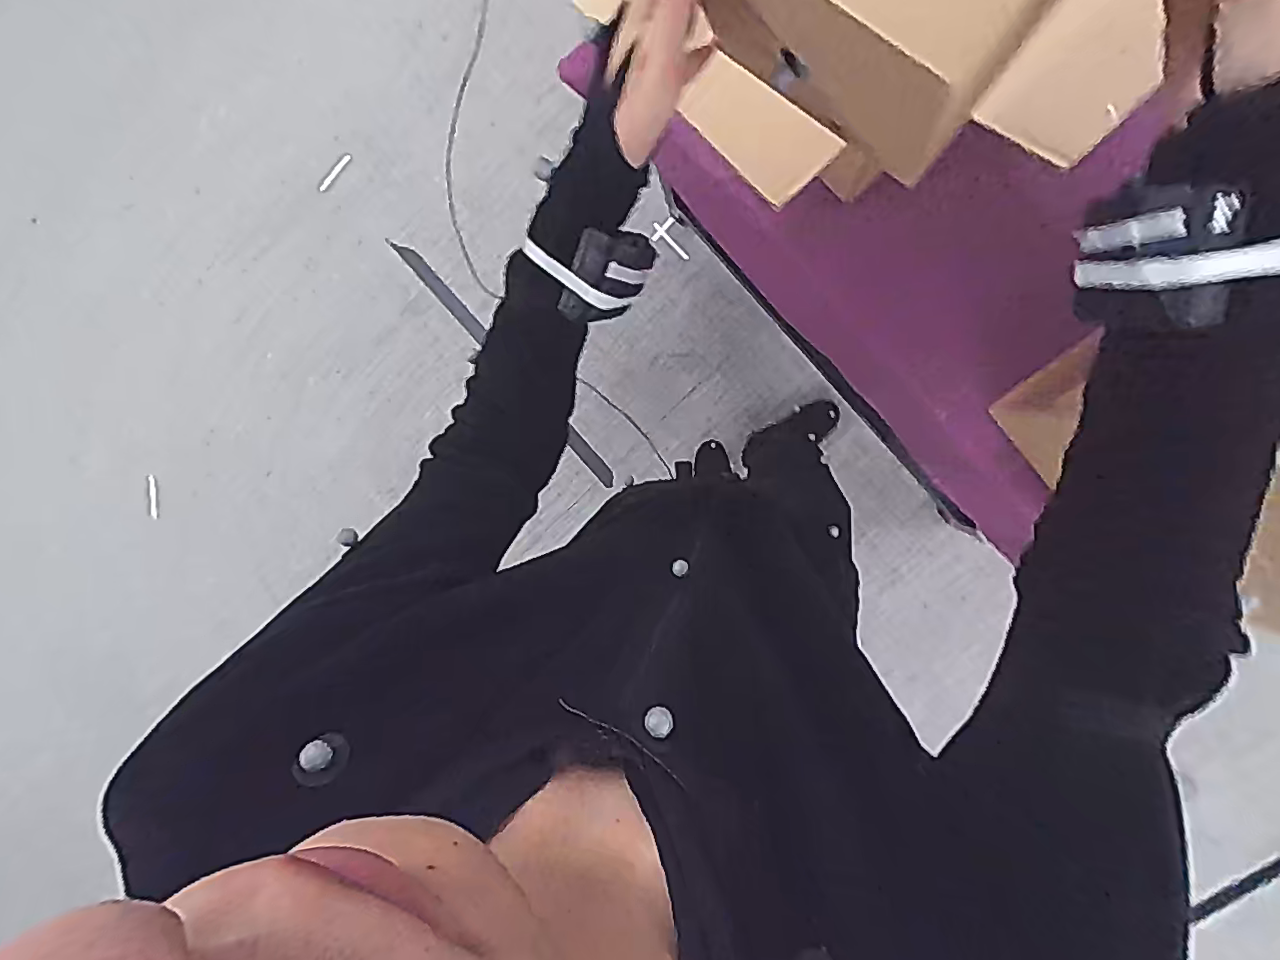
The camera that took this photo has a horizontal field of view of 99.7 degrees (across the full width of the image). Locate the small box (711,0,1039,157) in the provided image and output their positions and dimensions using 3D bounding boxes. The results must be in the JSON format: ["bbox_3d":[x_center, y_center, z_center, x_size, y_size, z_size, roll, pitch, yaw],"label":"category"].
[{"bbox_3d":[0.133,-0.297,0.258,0.168,0.176,0.179,40,114,6],"label":"small box"}]
